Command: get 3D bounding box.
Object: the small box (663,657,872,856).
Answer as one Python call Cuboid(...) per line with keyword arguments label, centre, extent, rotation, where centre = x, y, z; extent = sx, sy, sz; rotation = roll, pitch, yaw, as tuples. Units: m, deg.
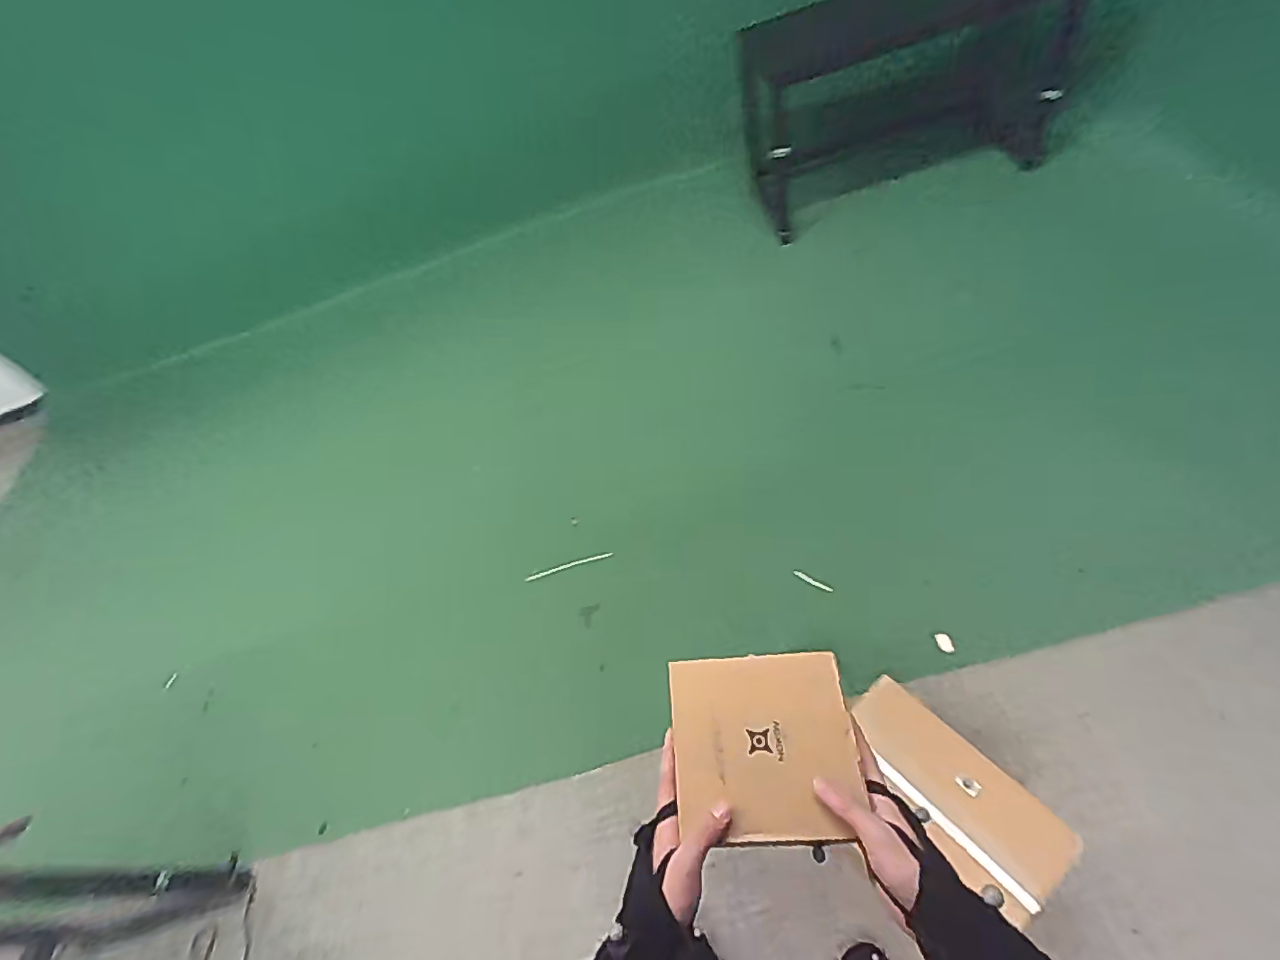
Cuboid(label="small box", centre=(0.122, 0.301, 0.581), extent=(0.179, 0.176, 0.168), rotation=(-6, 54, 5))
